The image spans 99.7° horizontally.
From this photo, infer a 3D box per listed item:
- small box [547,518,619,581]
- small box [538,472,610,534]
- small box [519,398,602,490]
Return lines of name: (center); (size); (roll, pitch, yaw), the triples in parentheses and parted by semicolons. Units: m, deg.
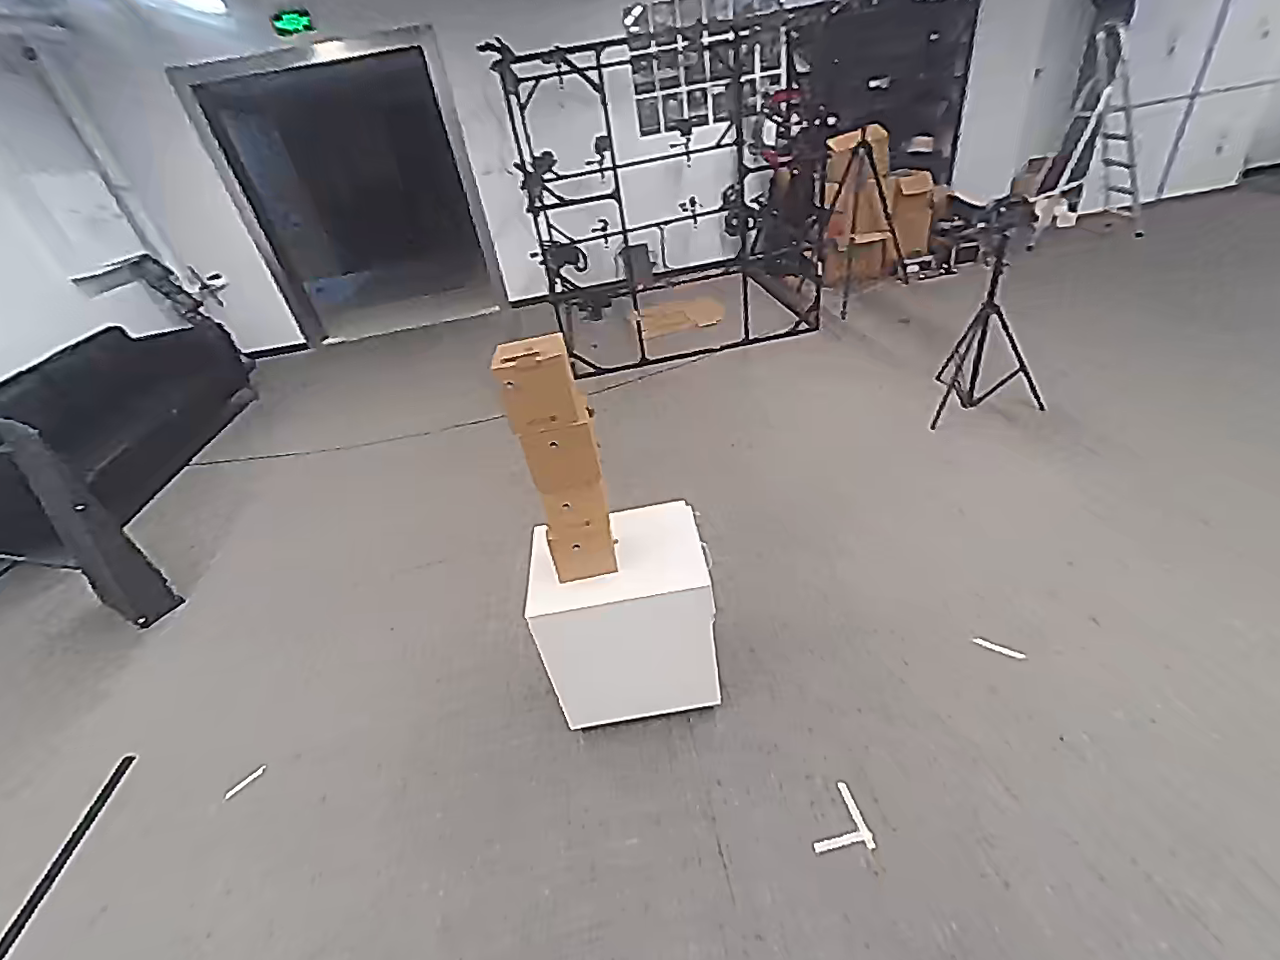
small box: (-0.167, 0.176, 1.585); (0.179, 0.176, 0.168); (-11, 34, -2)
small box: (-0.180, 0.034, 1.507); (0.168, 0.176, 0.179); (-11, 33, -1)
small box: (-0.201, -0.090, 1.399); (0.179, 0.176, 0.168); (-11, 34, -1)
